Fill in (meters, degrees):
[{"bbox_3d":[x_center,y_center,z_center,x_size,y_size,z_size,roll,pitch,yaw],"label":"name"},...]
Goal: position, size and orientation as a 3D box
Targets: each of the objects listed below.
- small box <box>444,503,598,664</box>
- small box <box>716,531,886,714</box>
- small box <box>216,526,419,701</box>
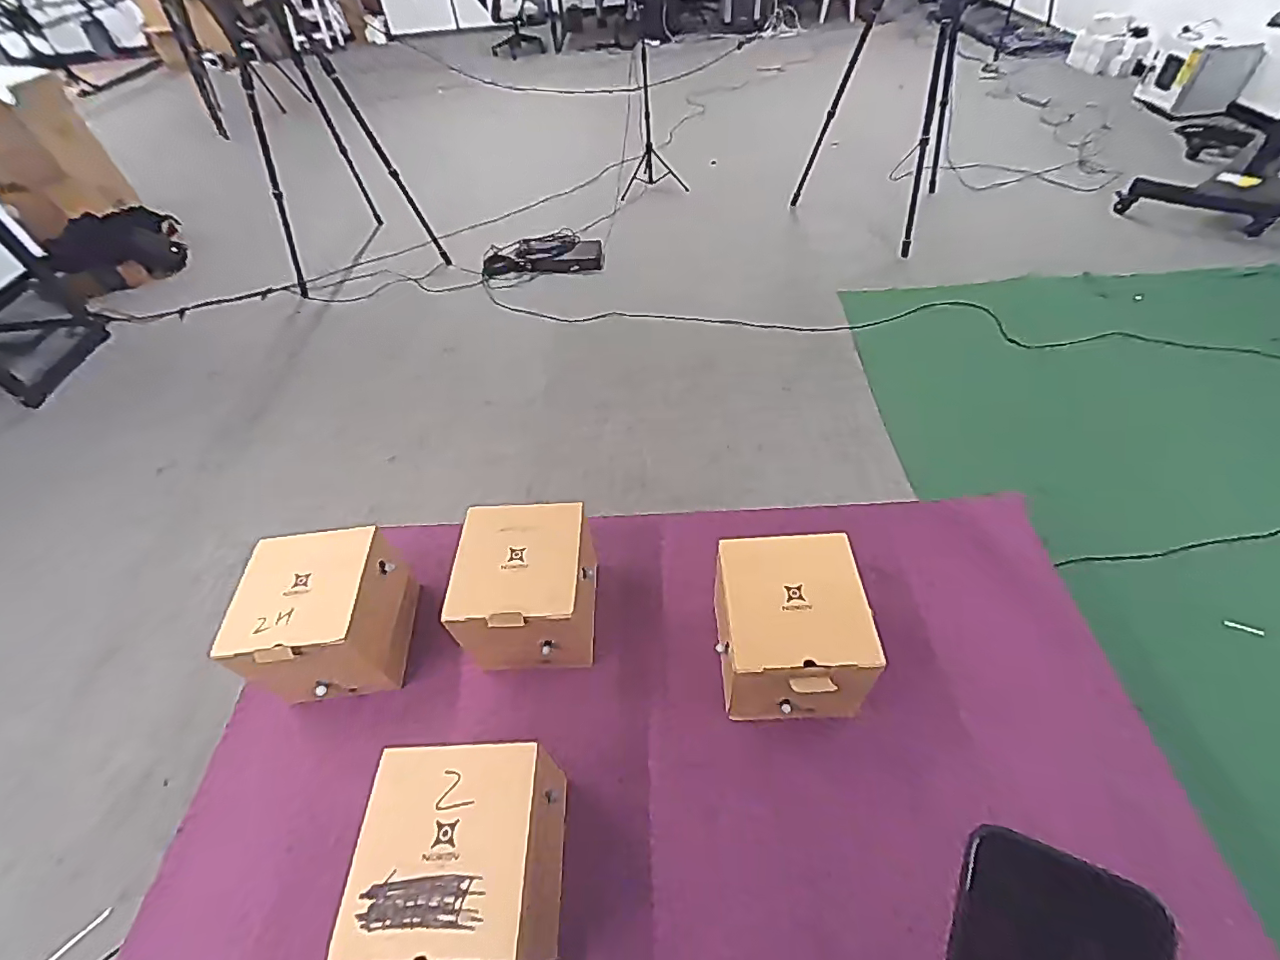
[{"bbox_3d":[-0.154,0.153,0.770,0.168,0.176,0.179,-2,50,3],"label":"small box"},{"bbox_3d":[0.191,0.187,0.704,0.168,0.176,0.179,-4,50,3],"label":"small box"},{"bbox_3d":[-0.433,0.191,0.766,0.168,0.176,0.179,-7,50,0],"label":"small box"}]
